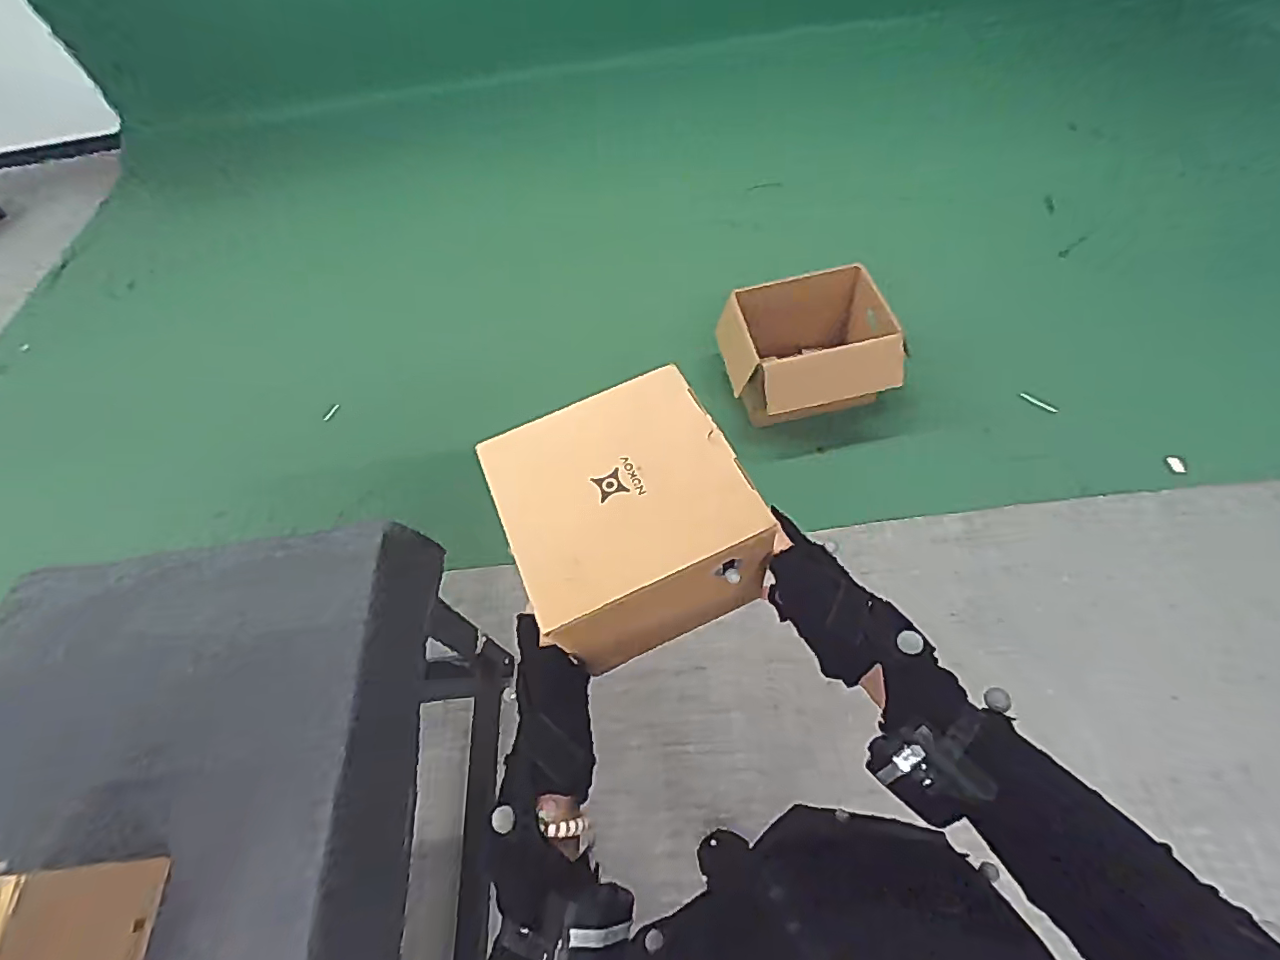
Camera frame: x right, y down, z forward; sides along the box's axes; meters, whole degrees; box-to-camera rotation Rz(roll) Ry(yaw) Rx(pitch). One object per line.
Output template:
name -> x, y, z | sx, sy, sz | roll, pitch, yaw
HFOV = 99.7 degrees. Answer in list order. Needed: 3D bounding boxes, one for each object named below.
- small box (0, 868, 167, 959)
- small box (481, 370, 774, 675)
small box -> -0.638, 0.499, 0.536 | 0.179, 0.176, 0.168 | -9, 58, 3
small box -> -0.007, 0.045, 0.462 | 0.179, 0.176, 0.168 | -24, 60, -7
